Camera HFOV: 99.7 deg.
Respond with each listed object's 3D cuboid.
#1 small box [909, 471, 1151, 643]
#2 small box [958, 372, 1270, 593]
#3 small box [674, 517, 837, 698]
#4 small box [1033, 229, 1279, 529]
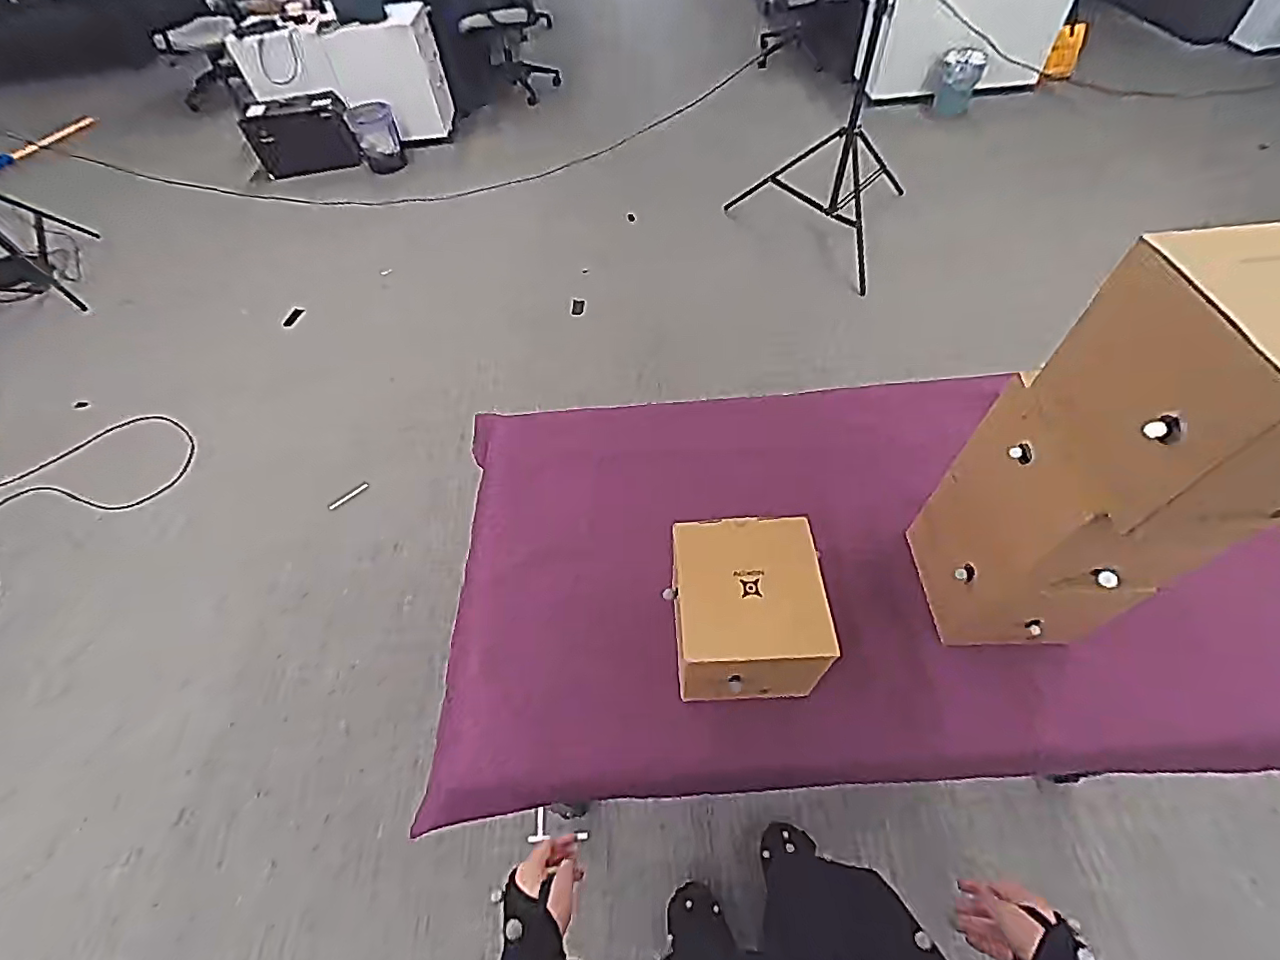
[{"bbox_3d":[0.480,0.104,0.702,0.168,0.176,0.179,-1,54,2],"label":"small box"},{"bbox_3d":[0.474,0.005,0.571,0.168,0.176,0.179,-2,55,3],"label":"small box"},{"bbox_3d":[0.130,0.167,0.681,0.168,0.176,0.179,-3,53,1],"label":"small box"},{"bbox_3d":[0.468,-0.072,0.427,0.168,0.176,0.179,-4,54,0],"label":"small box"}]
